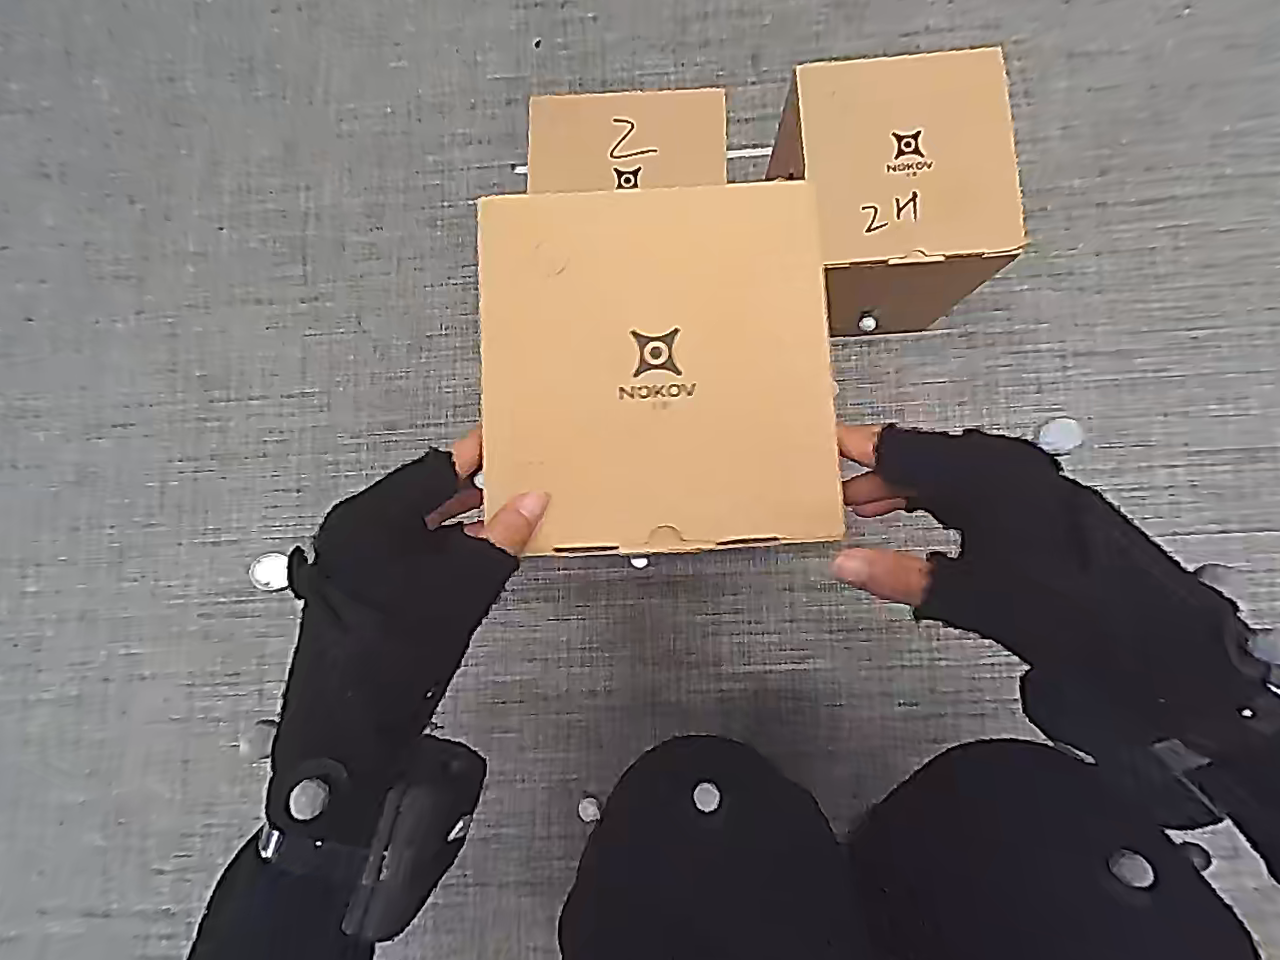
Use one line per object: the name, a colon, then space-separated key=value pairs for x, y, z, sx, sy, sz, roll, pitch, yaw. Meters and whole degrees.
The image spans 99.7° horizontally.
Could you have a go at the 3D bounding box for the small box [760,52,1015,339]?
small box: x=0.212 y=-0.250 z=0.513 sx=0.168 sy=0.176 sz=0.179 roll=-3 pitch=85 yaw=4
